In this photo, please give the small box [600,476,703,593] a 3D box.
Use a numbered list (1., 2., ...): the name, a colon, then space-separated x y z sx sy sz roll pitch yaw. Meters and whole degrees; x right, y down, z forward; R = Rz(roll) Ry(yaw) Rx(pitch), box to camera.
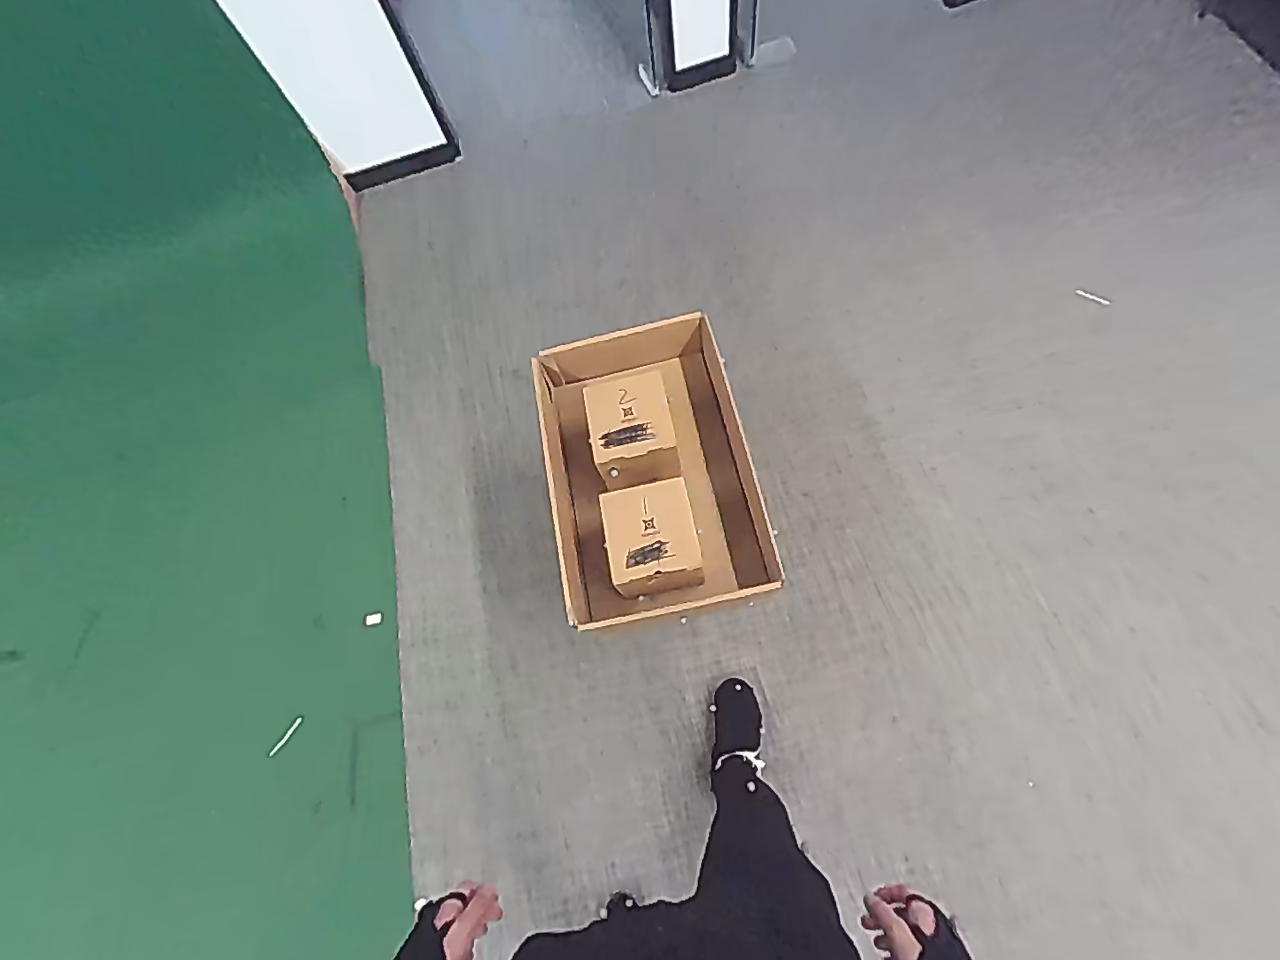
1. small box: 0.027 0.115 1.054 0.168 0.176 0.179 -12 66 3
